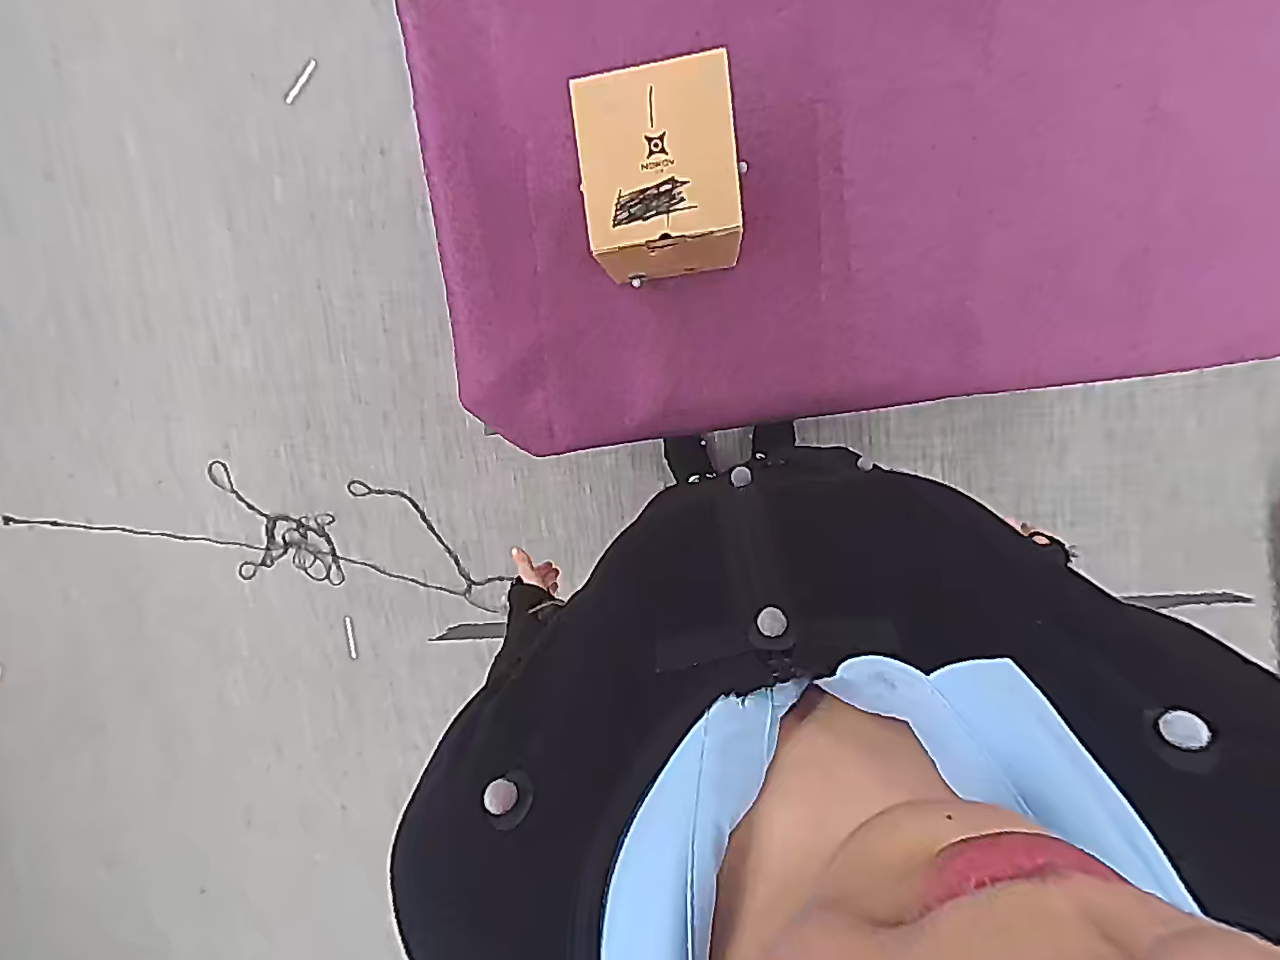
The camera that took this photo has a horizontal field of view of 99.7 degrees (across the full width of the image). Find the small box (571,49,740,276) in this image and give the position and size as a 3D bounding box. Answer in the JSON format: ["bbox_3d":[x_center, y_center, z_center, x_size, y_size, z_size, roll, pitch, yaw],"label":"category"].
[{"bbox_3d":[0.027,-0.351,0.640,0.168,0.176,0.179,-6,97,8],"label":"small box"}]
